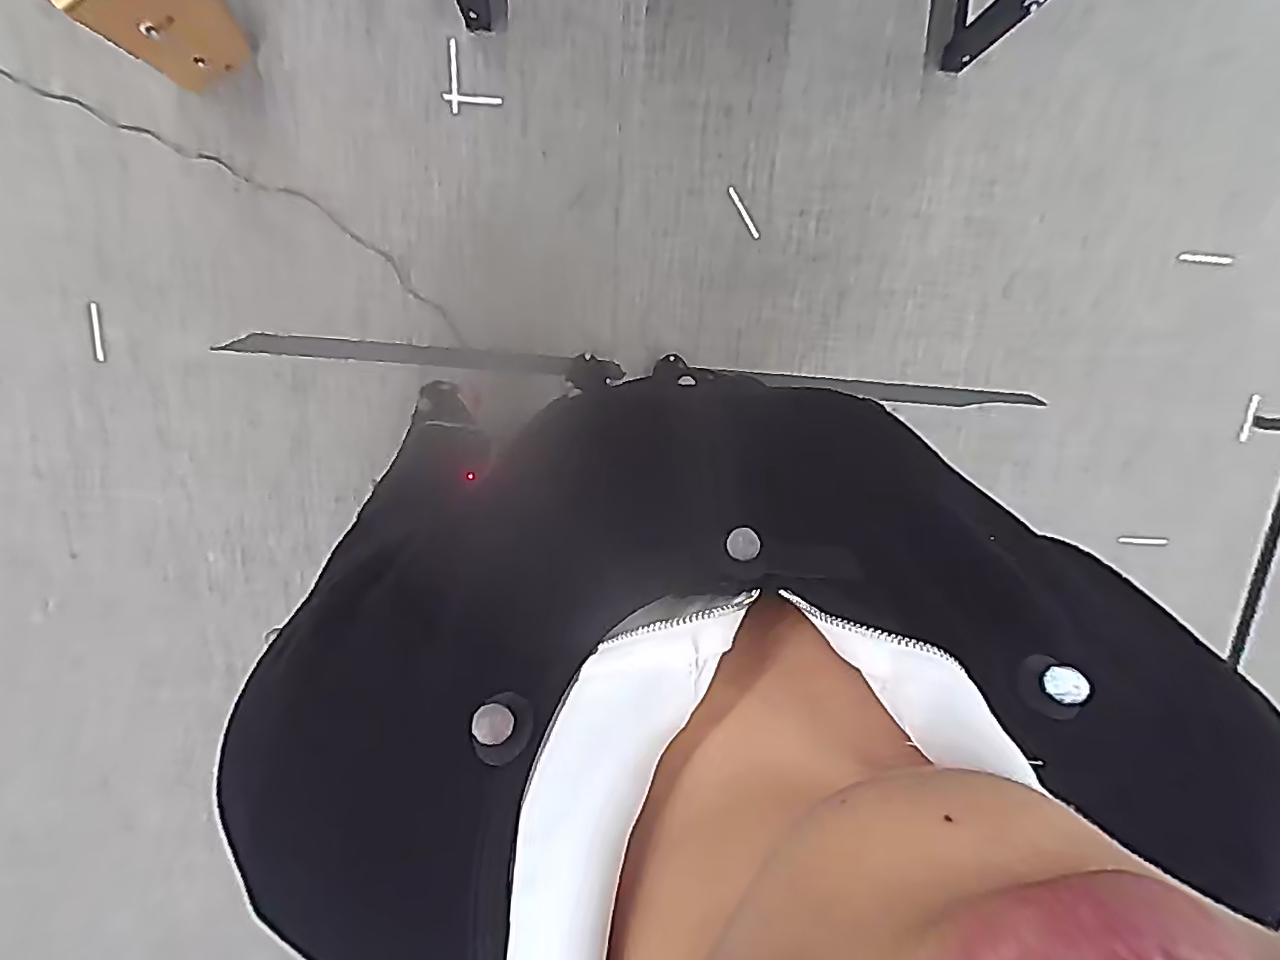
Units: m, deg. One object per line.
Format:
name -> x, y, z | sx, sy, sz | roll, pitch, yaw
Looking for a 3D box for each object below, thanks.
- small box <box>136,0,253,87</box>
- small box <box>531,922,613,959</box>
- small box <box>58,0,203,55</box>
small box -> -0.979, -0.979, 1.142 | 0.168, 0.176, 0.179 | -29, 102, 2
small box -> -0.150, 1.112, 1.176 | 0.179, 0.176, 0.168 | -5, 99, -1
small box -> -0.971, -0.940, 0.983 | 0.168, 0.176, 0.179 | -33, 104, 5
